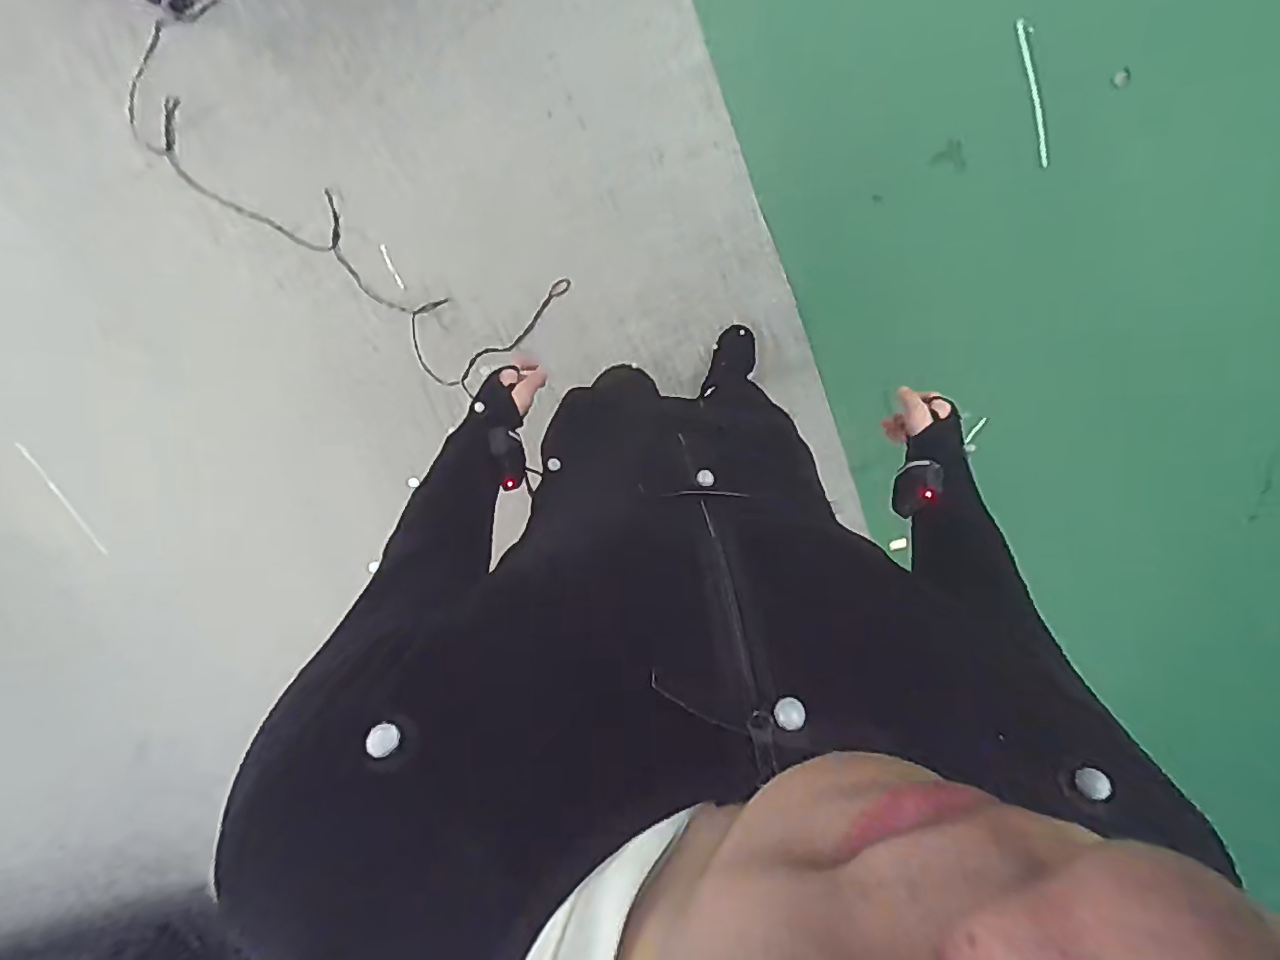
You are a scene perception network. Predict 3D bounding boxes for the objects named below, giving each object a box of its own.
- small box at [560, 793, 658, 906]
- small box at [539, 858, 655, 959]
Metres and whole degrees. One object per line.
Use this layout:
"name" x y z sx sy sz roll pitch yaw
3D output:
"small box" -0.064 0.862 1.254 0.179 0.176 0.168 -17 105 9
"small box" -0.078 0.914 1.098 0.179 0.176 0.168 -17 105 10
